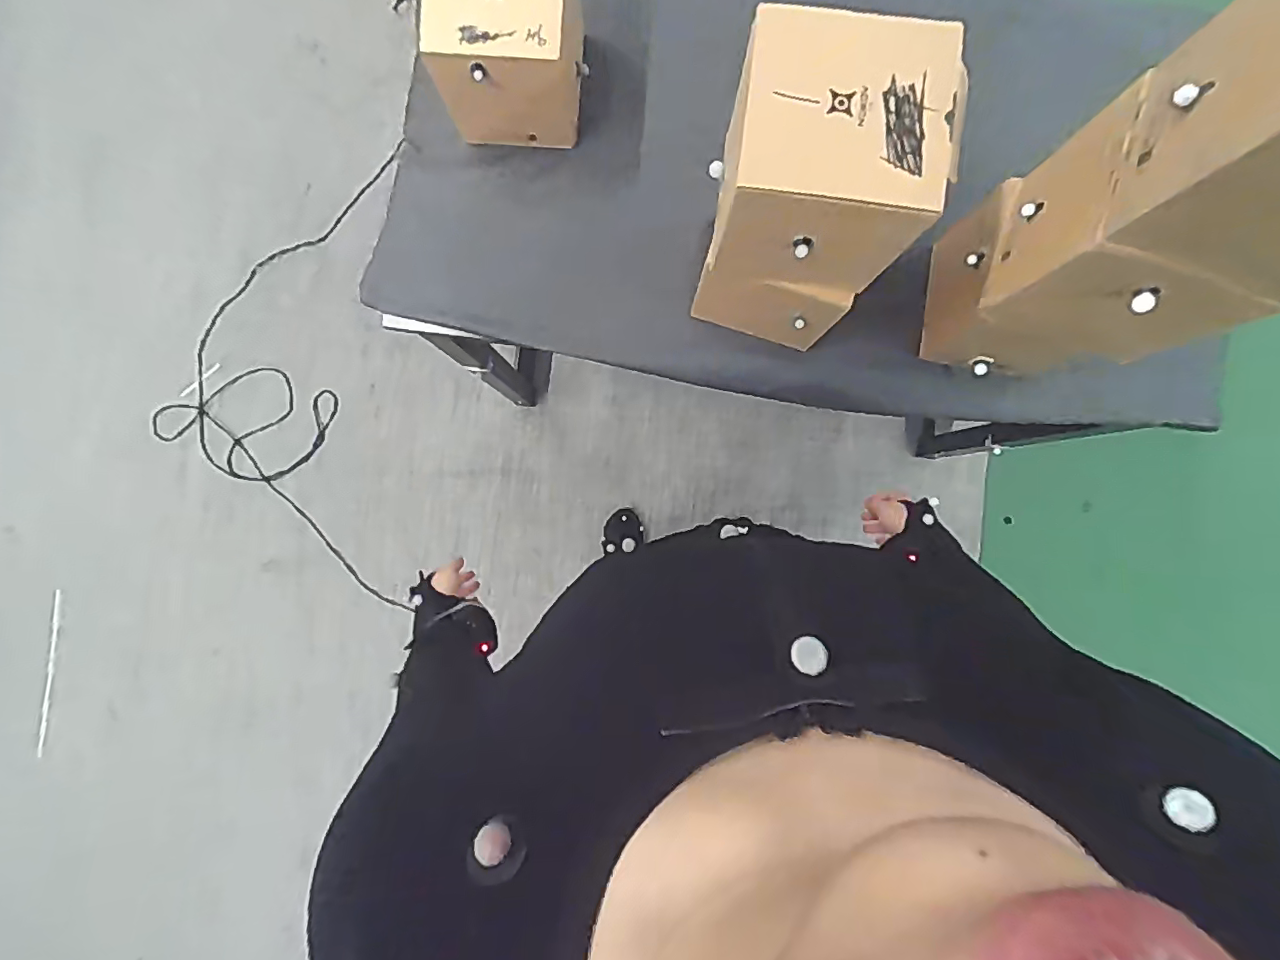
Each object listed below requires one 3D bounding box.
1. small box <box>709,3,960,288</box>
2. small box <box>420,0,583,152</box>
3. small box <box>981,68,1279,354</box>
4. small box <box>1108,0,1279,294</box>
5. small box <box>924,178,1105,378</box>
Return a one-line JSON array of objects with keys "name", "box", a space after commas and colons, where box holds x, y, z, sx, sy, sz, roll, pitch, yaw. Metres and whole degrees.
[{"name": "small box", "box": [0.173, -0.306, 0.531, 0.179, 0.176, 0.168, 8, 87, 1]}, {"name": "small box", "box": [-0.168, -0.573, 0.710, 0.168, 0.176, 0.179, 4, 89, 0]}, {"name": "small box", "box": [0.485, -0.238, 0.527, 0.179, 0.176, 0.168, 19, 87, 3]}, {"name": "small box", "box": [0.486, -0.249, 0.362, 0.179, 0.176, 0.168, 21, 87, 3]}, {"name": "small box", "box": [0.489, -0.244, 0.690, 0.168, 0.176, 0.179, 8, 87, 2]}]
